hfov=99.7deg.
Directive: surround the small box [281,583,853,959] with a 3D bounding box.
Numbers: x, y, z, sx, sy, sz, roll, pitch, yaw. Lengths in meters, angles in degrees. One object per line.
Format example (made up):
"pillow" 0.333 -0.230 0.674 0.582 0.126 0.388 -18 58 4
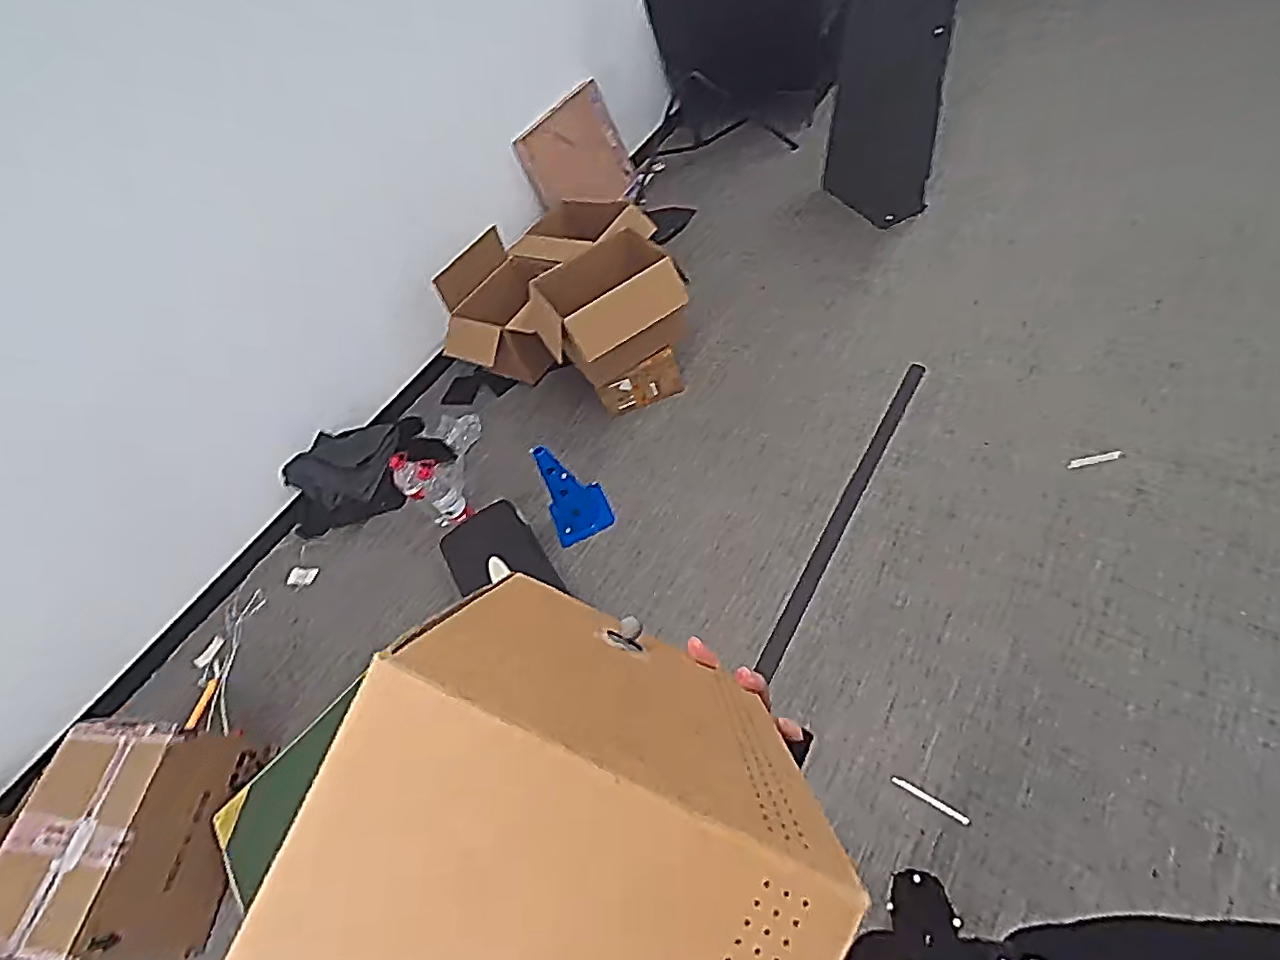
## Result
"small box" -0.031 0.172 0.263 0.176 0.179 0.168 25 90 1
